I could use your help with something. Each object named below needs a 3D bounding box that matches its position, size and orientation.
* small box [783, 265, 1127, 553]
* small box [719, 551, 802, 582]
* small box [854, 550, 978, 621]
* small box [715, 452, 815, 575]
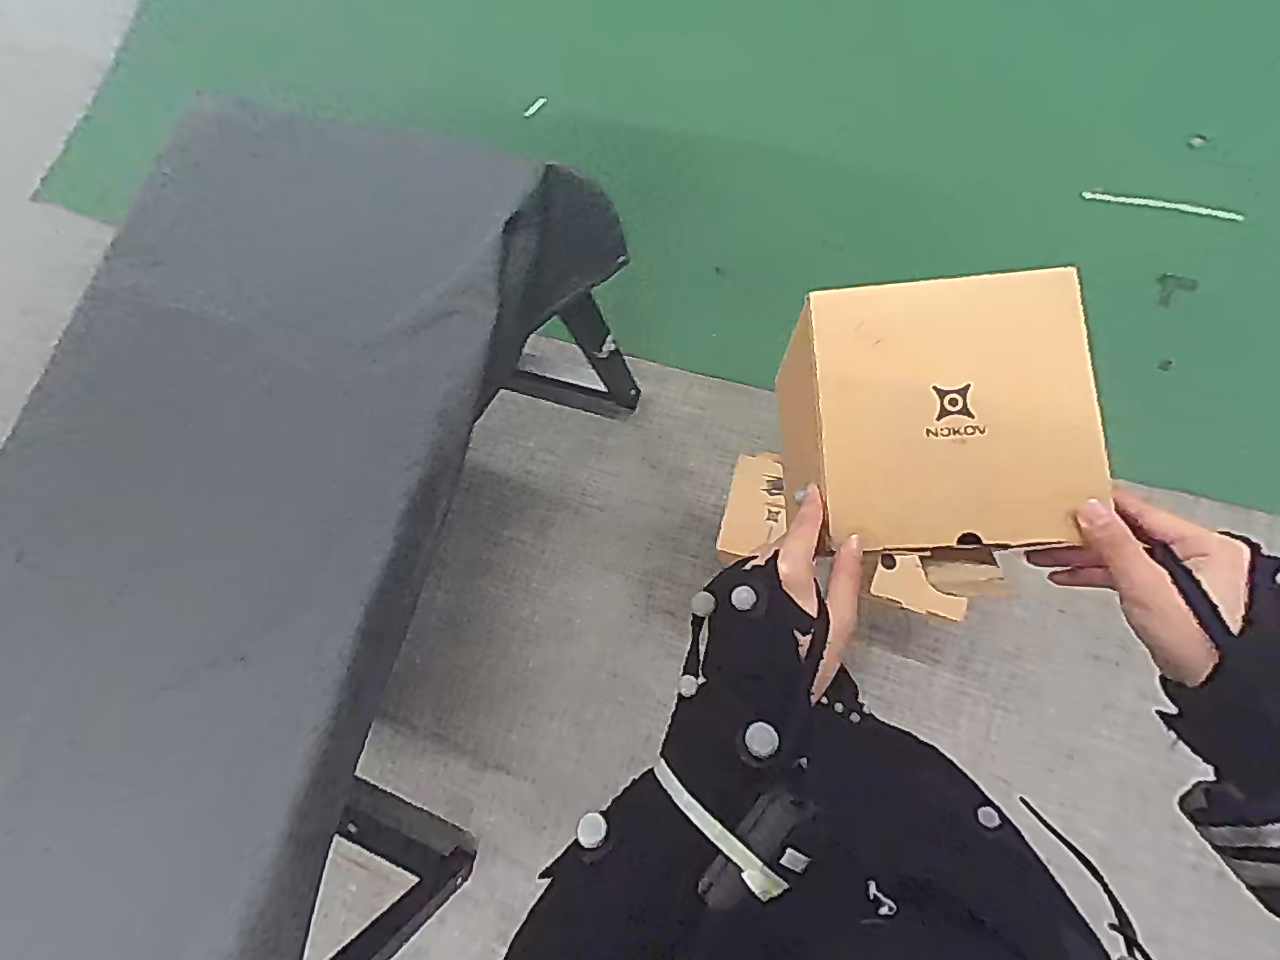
[{"bbox_3d":[0.207,-0.035,0.412,0.168,0.176,0.179,-3,82,7],"label":"small box"},{"bbox_3d":[0.269,0.109,1.144,0.168,0.176,0.179,13,81,14],"label":"small box"},{"bbox_3d":[0.541,0.165,1.080,0.168,0.176,0.179,18,83,13],"label":"small box"},{"bbox_3d":[0.239,0.067,0.988,0.168,0.176,0.179,13,81,14],"label":"small box"}]
